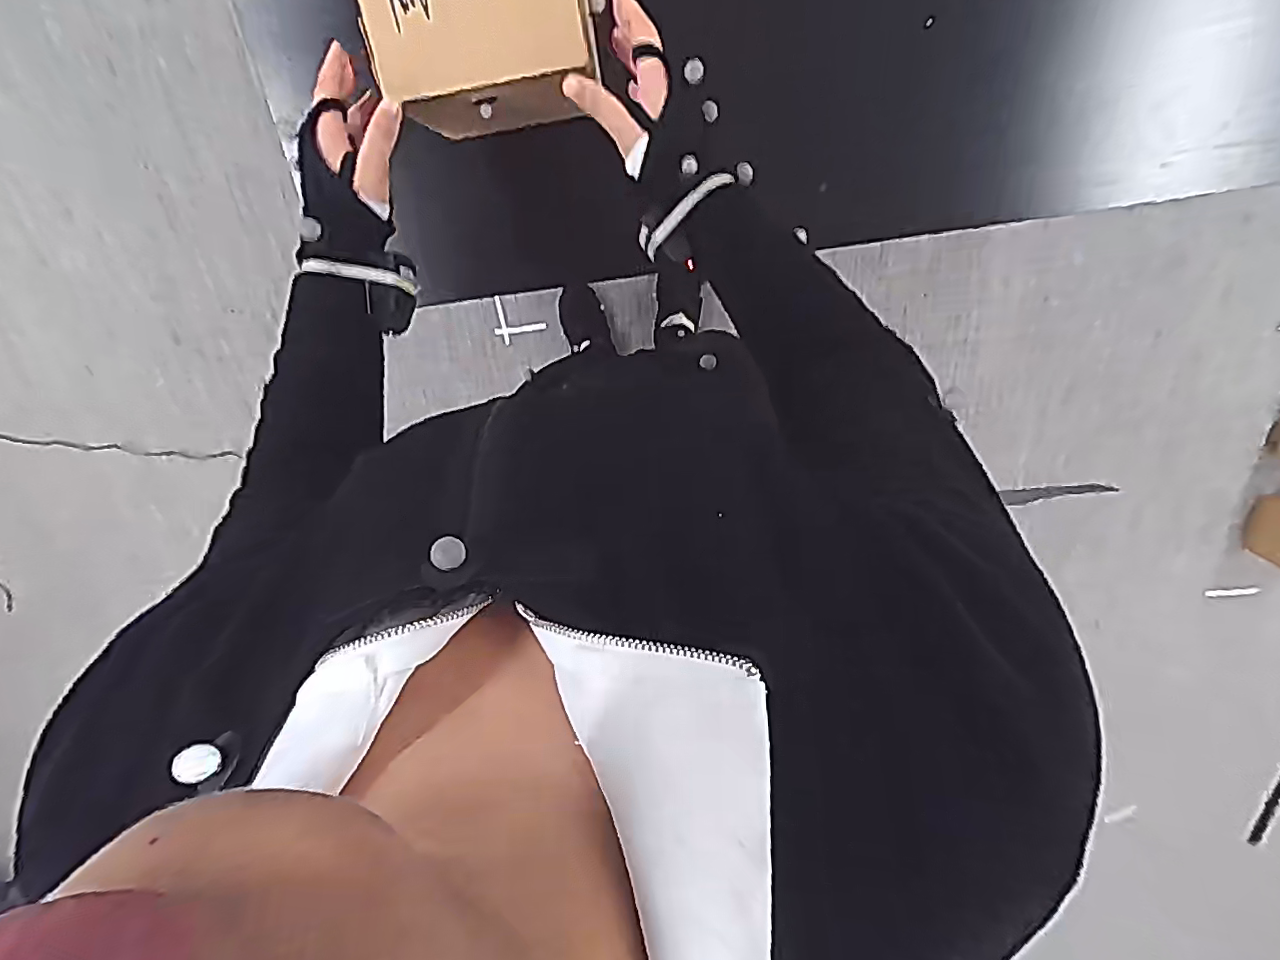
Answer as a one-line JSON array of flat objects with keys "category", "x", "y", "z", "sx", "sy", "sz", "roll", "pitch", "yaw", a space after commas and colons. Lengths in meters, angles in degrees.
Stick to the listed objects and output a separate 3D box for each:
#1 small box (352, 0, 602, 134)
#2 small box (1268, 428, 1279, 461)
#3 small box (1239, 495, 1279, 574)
[{"category": "small box", "x": -0.138, "y": -0.427, "z": 0.480, "sx": 0.179, "sy": 0.176, "sz": 0.168, "roll": -7, "pitch": 113, "yaw": 4}, {"category": "small box", "x": 1.760, "y": -0.108, "z": 1.347, "sx": 0.179, "sy": 0.176, "sz": 0.168, "roll": -3, "pitch": 113, "yaw": 4}, {"category": "small box", "x": 1.803, "y": 0.152, "z": 1.461, "sx": 0.168, "sy": 0.176, "sz": 0.179, "roll": -7, "pitch": 114, "yaw": 5}]
